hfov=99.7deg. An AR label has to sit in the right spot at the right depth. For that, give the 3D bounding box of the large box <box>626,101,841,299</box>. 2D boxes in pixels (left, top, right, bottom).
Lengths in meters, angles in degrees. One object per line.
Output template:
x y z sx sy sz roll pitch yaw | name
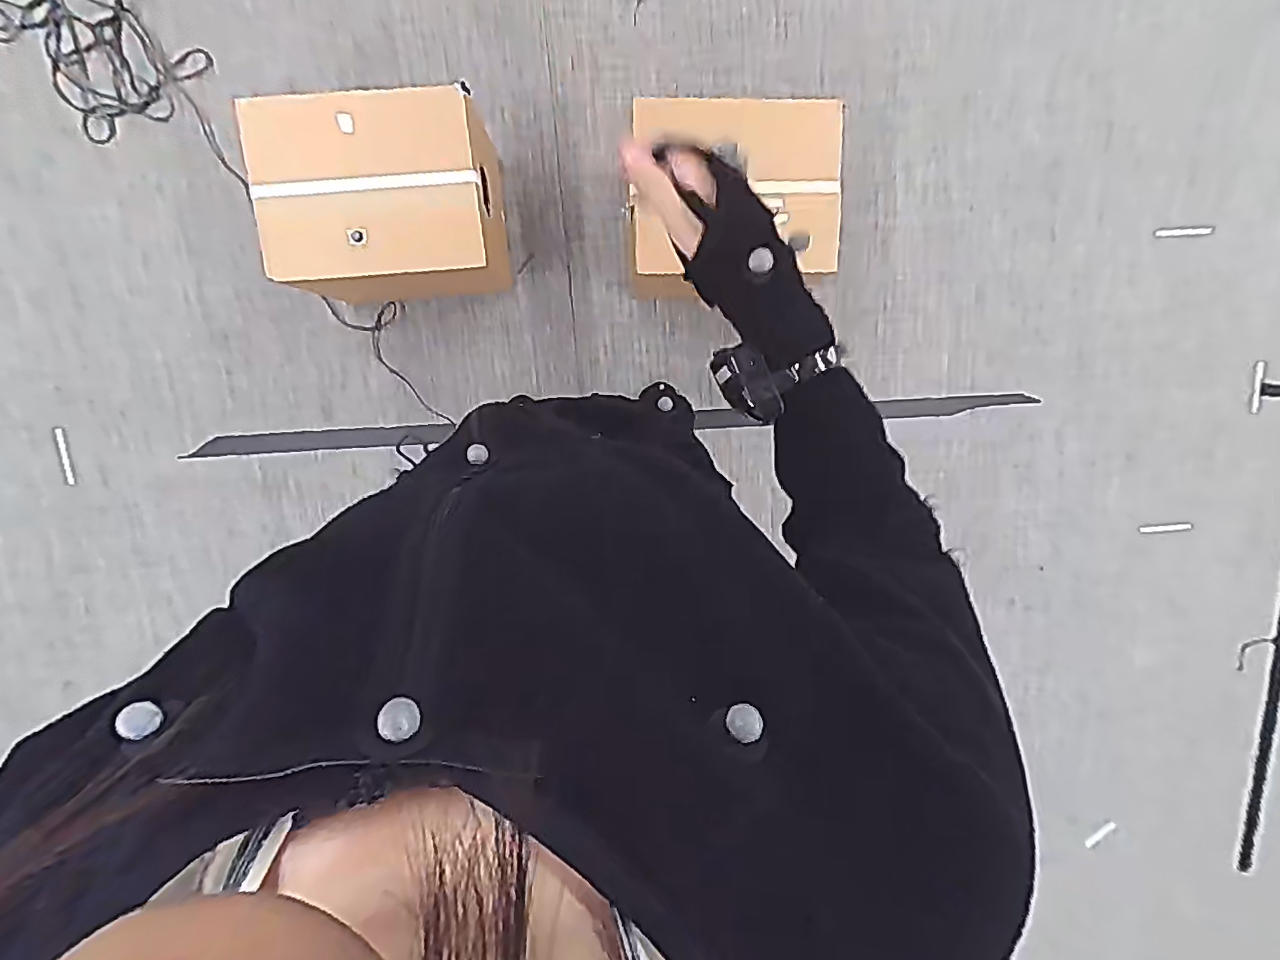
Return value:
0.180 -0.588 1.194 0.408 0.320 0.320 -2 101 -5 | large box
